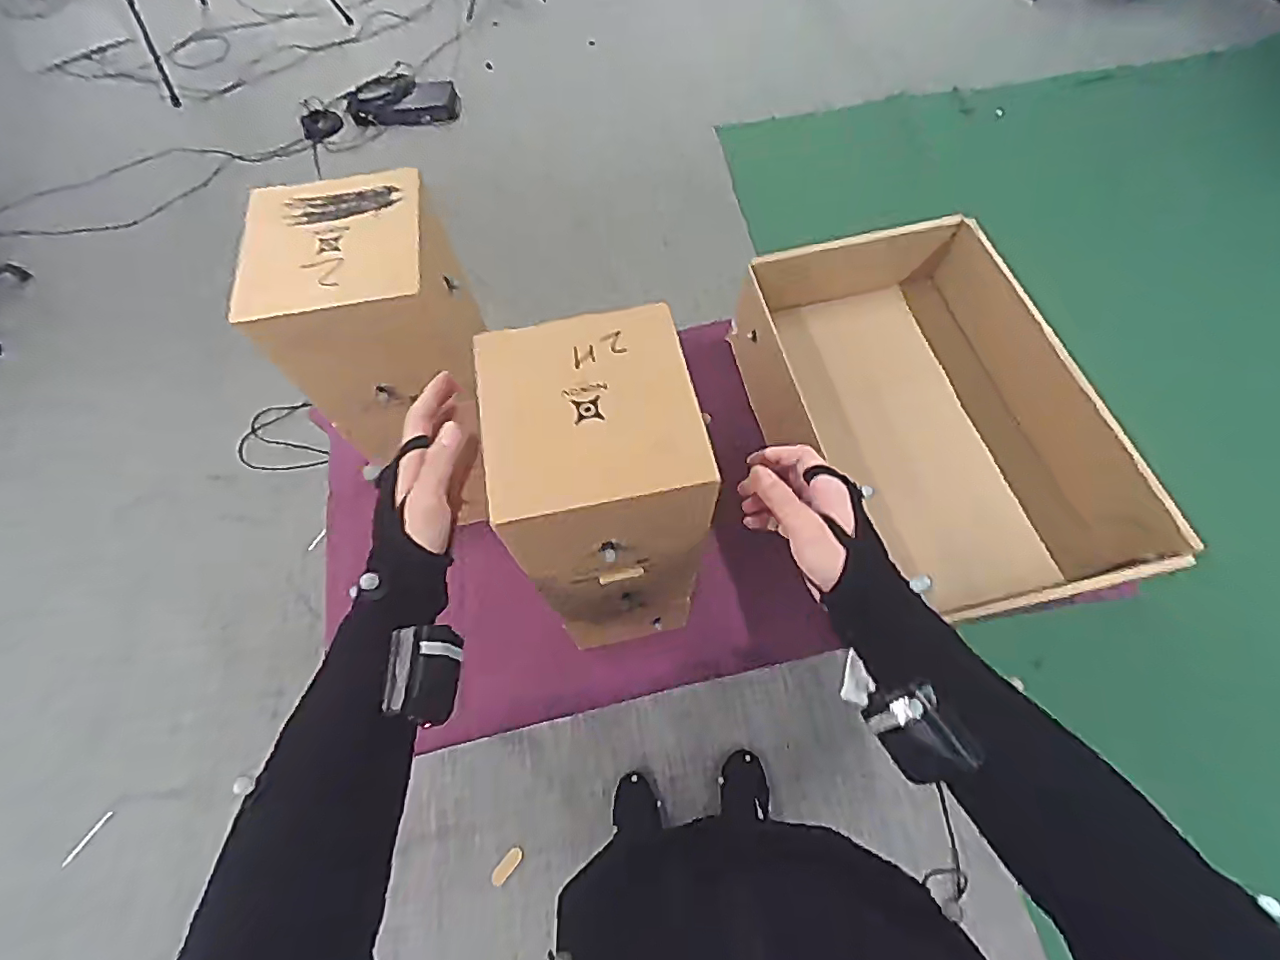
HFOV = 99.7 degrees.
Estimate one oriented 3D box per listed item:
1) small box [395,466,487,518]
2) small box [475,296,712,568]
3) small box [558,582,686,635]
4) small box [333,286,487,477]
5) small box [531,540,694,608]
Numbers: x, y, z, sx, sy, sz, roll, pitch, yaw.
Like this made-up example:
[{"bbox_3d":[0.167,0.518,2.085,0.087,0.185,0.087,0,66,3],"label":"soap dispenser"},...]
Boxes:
[{"bbox_3d":[-0.279,-0.052,0.869,0.168,0.176,0.179,-13,64,-4],"label":"small box"},{"bbox_3d":[-0.039,-0.030,0.486,0.168,0.176,0.179,-10,64,-4],"label":"small box"},{"bbox_3d":[-0.033,0.117,0.780,0.168,0.176,0.179,-11,63,-4],"label":"small box"},{"bbox_3d":[-0.278,-0.126,0.723,0.168,0.176,0.179,-9,65,-2],"label":"small box"},{"bbox_3d":[-0.038,0.043,0.634,0.168,0.176,0.179,-11,65,-5],"label":"small box"}]
